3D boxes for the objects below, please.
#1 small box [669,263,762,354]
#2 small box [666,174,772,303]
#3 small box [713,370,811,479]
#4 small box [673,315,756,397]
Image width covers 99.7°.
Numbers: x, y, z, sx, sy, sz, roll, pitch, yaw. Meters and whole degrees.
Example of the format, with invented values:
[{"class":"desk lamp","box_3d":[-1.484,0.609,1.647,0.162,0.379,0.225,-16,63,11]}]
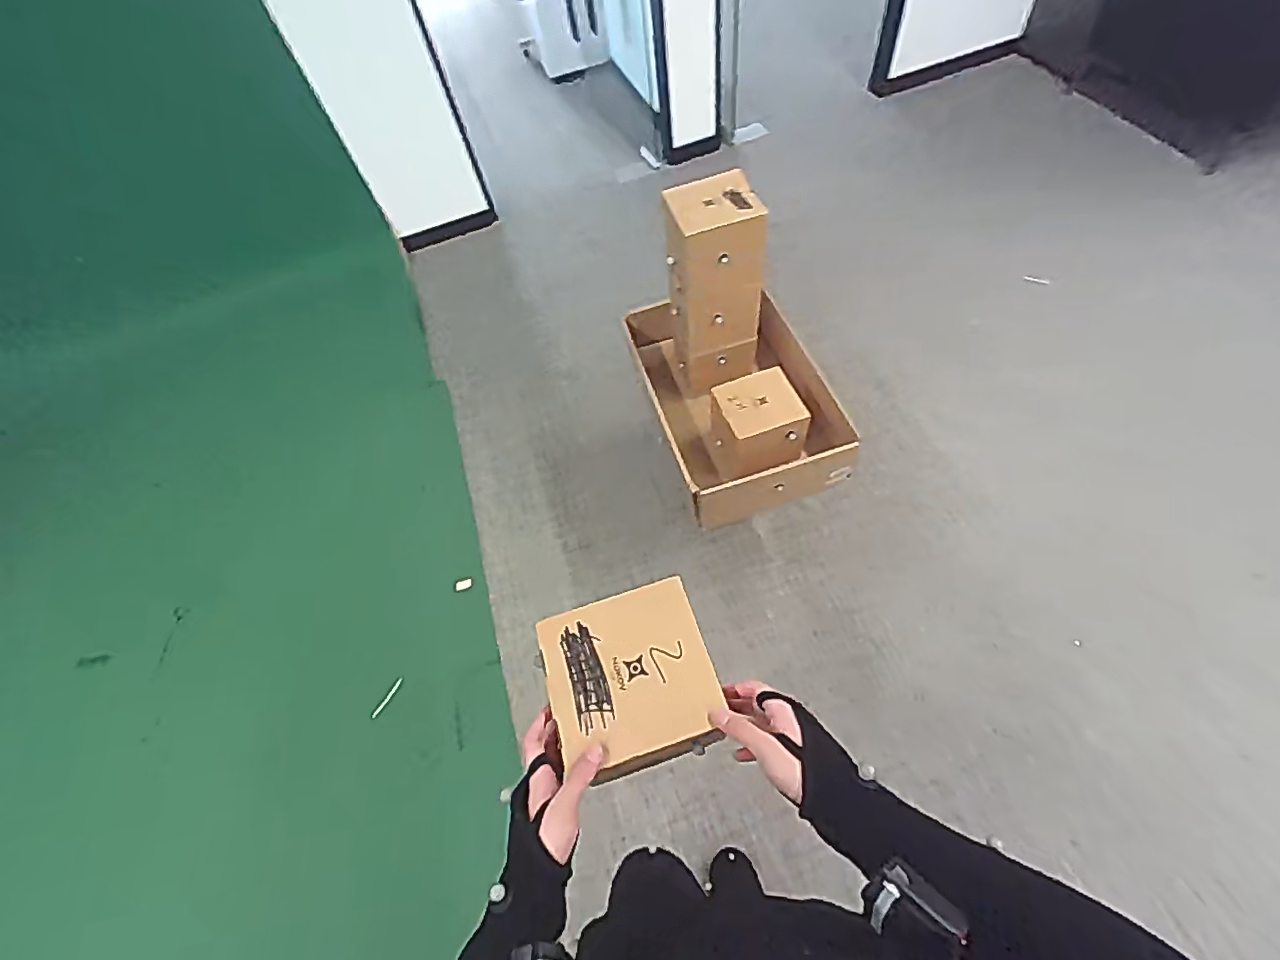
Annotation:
[{"class":"small box","box_3d":[0.180,-0.430,1.305,0.179,0.176,0.168,-16,60,-2]},{"class":"small box","box_3d":[0.164,-0.514,1.164,0.179,0.176,0.168,-17,59,-3]},{"class":"small box","box_3d":[0.282,-0.129,1.297,0.179,0.176,0.168,-18,58,-4]},{"class":"small box","box_3d":[0.196,-0.344,1.443,0.179,0.176,0.168,-14,59,-3]}]
